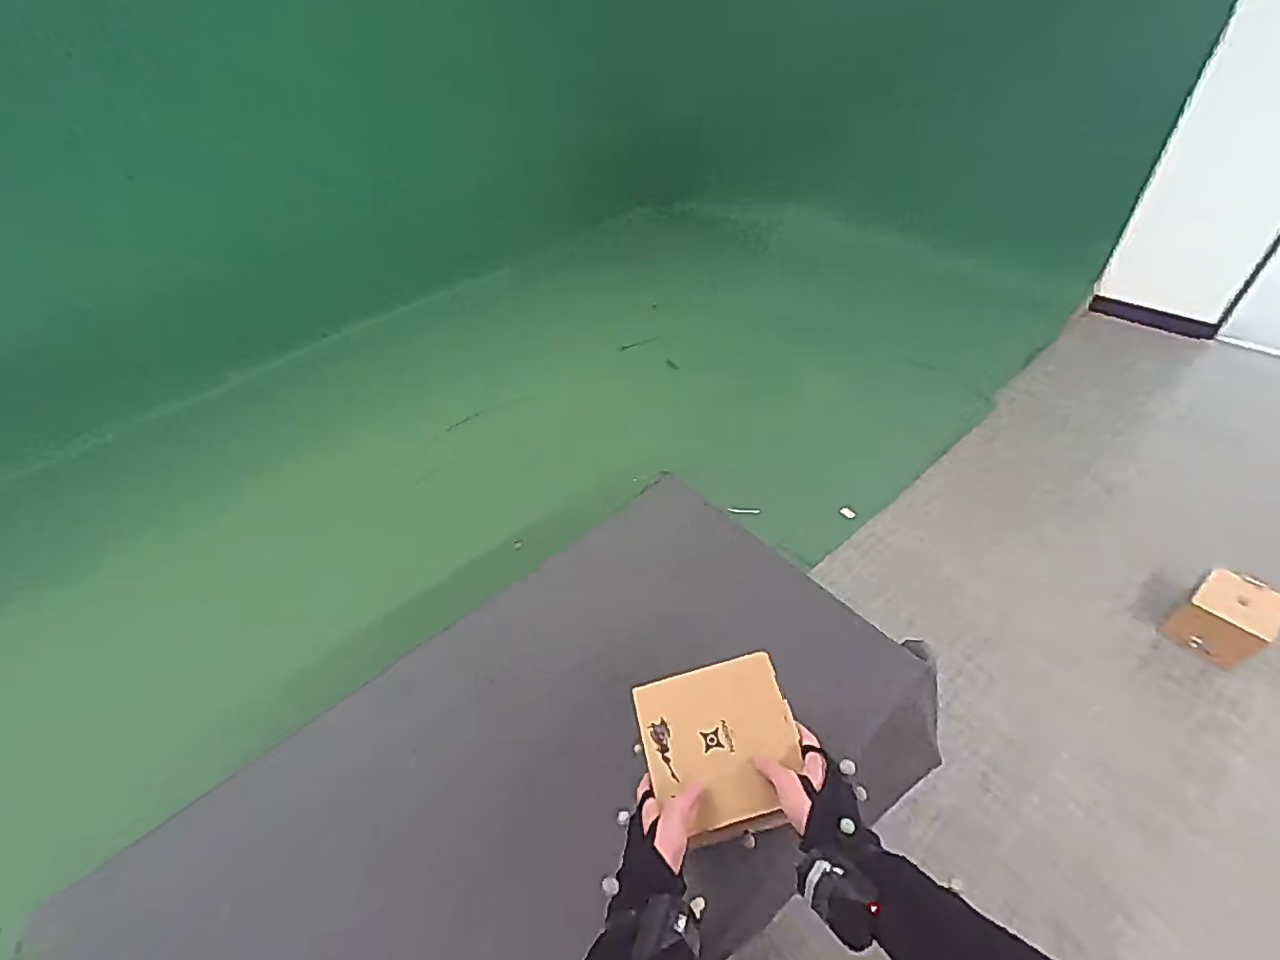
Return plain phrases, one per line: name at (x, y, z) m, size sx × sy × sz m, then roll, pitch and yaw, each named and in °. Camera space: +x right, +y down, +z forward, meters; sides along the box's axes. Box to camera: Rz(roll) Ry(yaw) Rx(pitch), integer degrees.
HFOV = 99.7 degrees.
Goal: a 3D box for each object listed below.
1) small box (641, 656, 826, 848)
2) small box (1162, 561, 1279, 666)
small box at (0.110, 0.347, 0.682) m, size 0.179 × 0.176 × 0.168 m, roll -15°, pitch 52°, yaw 0°
small box at (1.570, 0.359, 1.452) m, size 0.179 × 0.176 × 0.168 m, roll -32°, pitch 47°, yaw -20°
